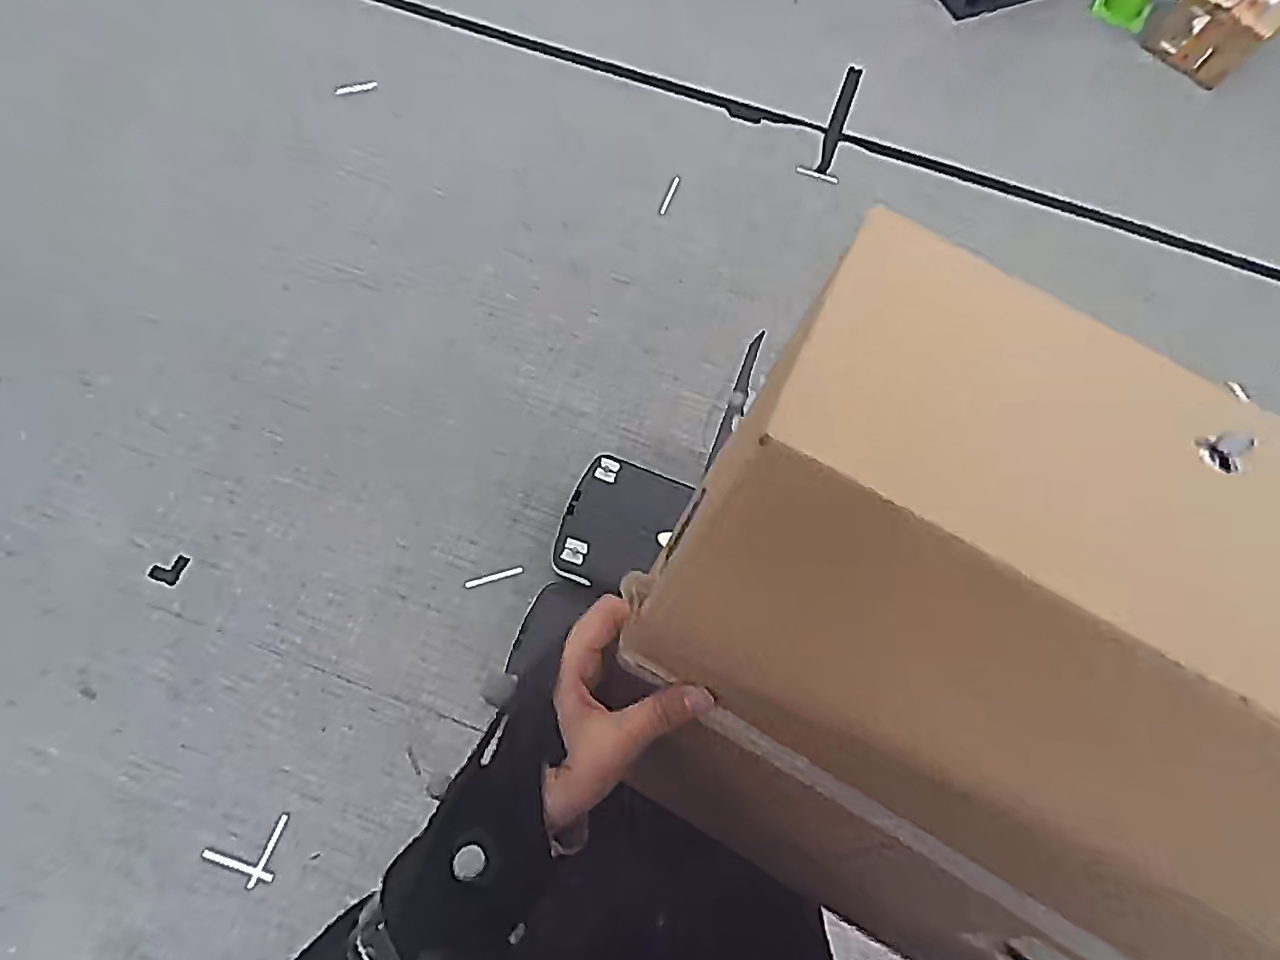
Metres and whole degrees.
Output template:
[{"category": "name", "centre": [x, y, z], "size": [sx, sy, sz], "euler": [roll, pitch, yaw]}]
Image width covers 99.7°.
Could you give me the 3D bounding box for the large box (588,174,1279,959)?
[{"category": "large box", "centre": [0.234, 0.063, 0.353], "size": [0.408, 0.320, 0.320], "euler": [29, 46, 4]}]

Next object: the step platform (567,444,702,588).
[{"category": "step platform", "centre": [0.180, 0.184, 1.237], "size": [0.684, 0.204, 0.286], "euler": [26, 73, 4]}]
